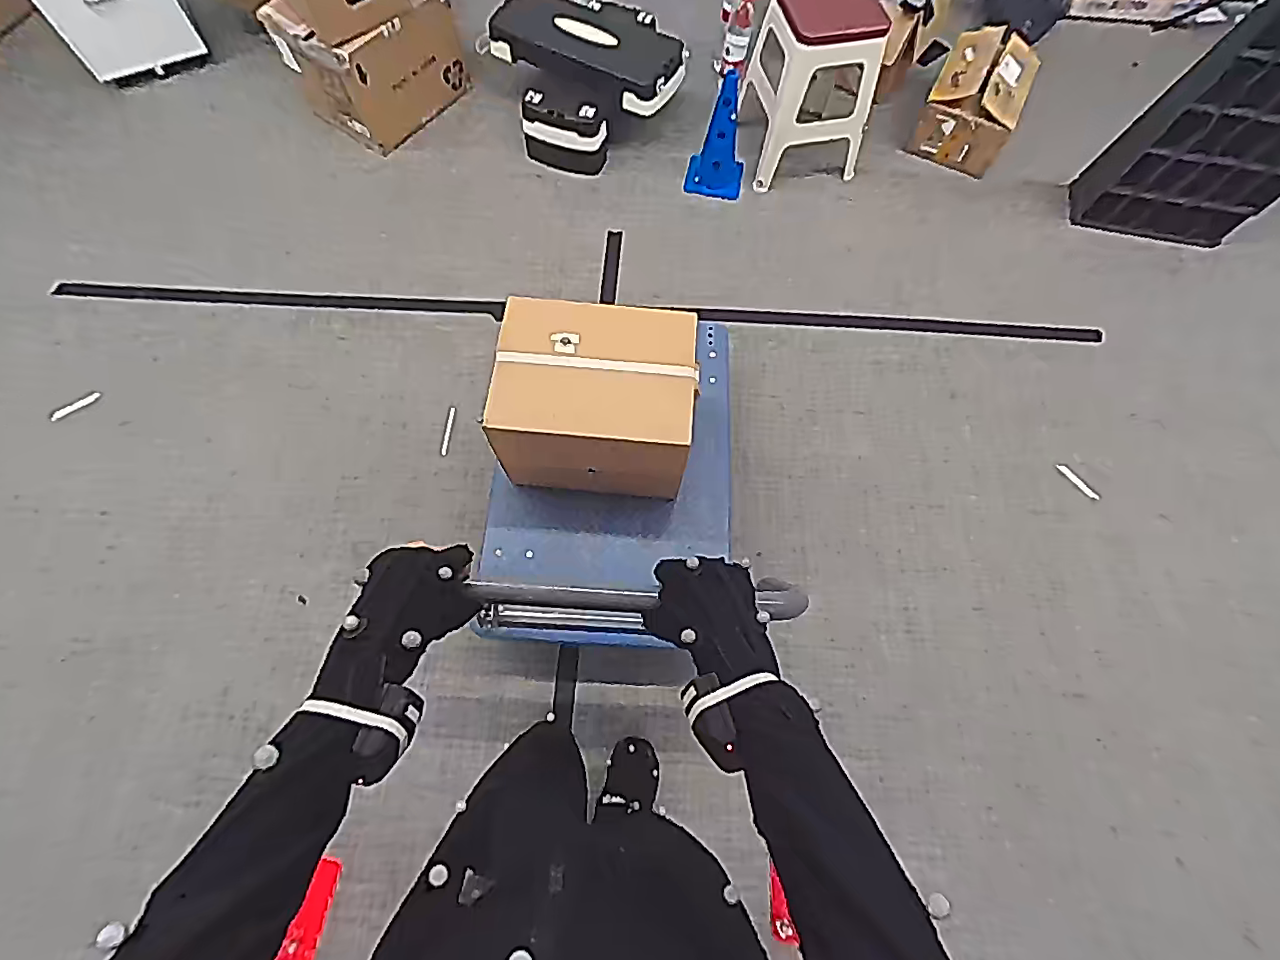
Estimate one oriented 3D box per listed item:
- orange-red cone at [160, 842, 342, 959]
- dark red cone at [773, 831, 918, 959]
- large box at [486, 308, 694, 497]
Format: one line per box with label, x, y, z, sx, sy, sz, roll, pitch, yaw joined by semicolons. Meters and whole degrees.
orange-red cone;-0.744;0.821;0.978;0.198;0.360;0.199;11;66;2
dark red cone;0.390;0.800;0.987;0.201;0.394;0.202;4;68;-1
large box;-0.092;-0.160;1.235;0.408;0.320;0.320;5;68;1
